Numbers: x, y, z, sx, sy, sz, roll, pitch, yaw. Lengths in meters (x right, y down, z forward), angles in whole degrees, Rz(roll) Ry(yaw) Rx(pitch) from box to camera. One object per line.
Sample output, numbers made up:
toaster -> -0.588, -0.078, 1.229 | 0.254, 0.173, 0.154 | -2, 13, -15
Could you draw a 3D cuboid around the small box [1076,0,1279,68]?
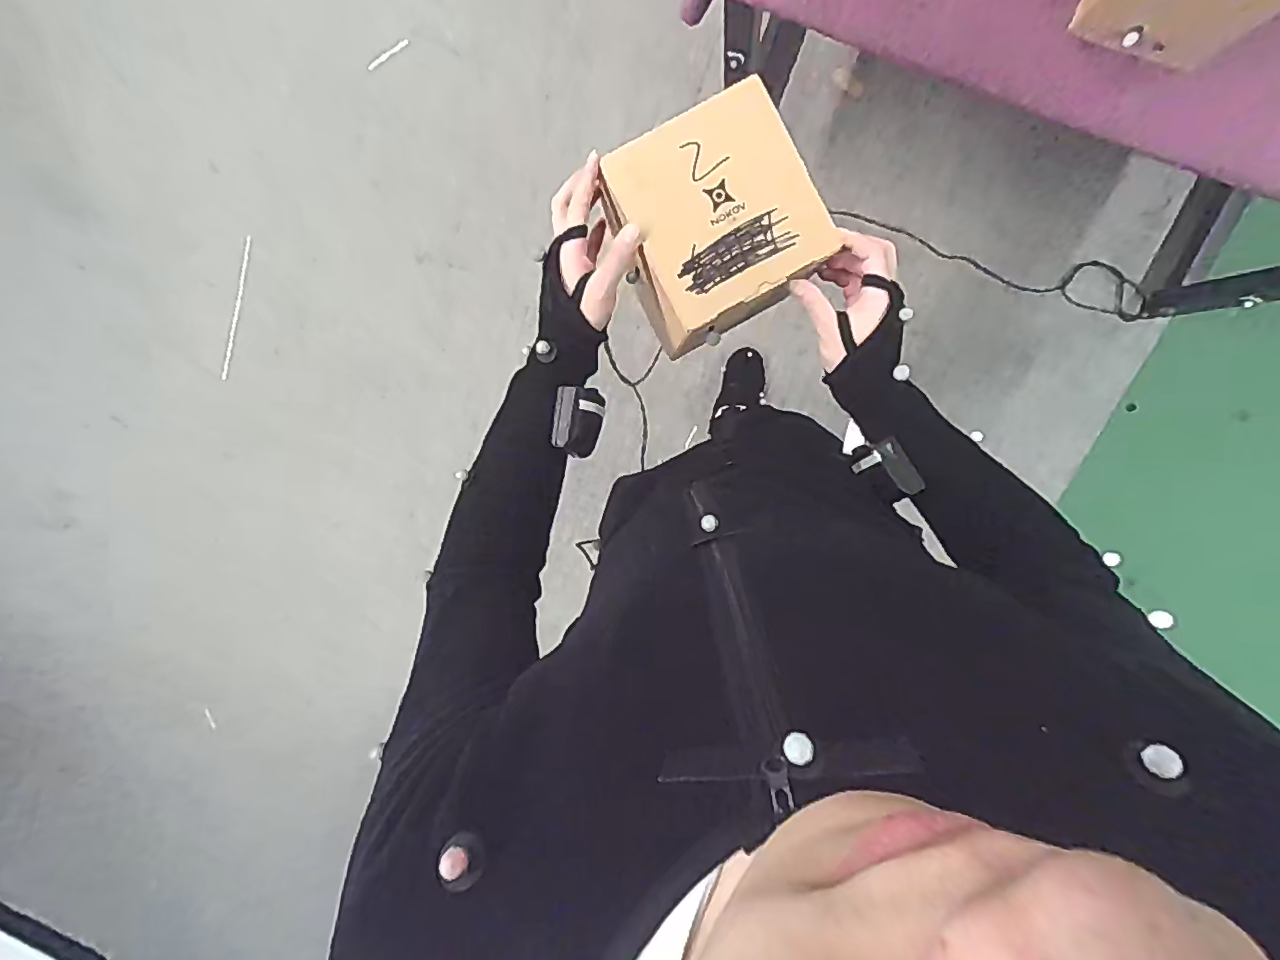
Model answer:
small box -> 0.638, -0.610, 0.591 | 0.168, 0.176, 0.179 | 23, 103, 6
